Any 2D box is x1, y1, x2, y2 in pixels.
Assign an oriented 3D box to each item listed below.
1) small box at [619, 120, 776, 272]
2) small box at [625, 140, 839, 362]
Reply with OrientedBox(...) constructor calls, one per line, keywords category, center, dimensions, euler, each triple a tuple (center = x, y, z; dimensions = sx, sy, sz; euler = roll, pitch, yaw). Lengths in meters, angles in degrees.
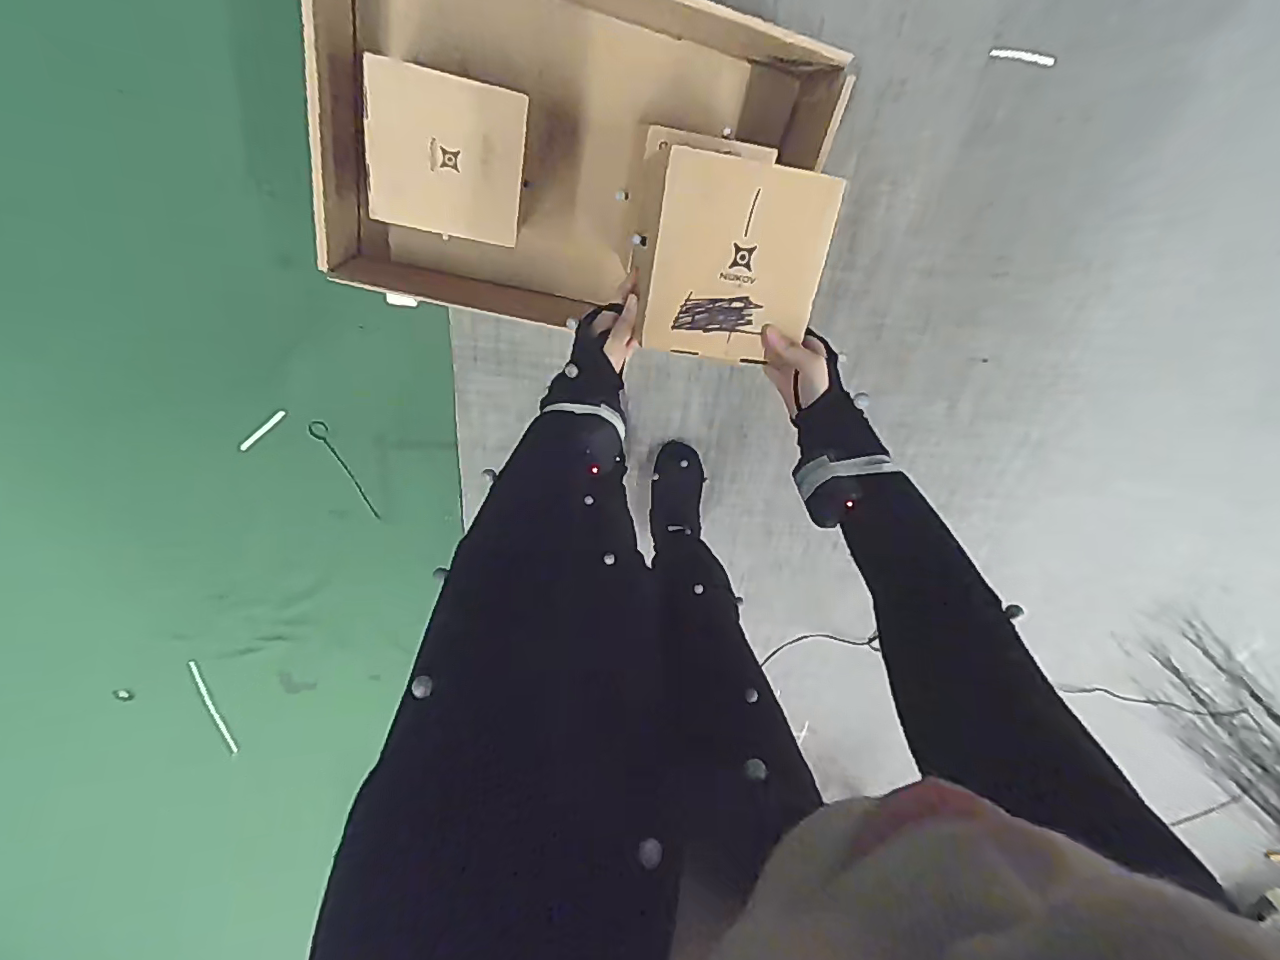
OrientedBox(category="small box", center=(0.065, -0.385, 0.755), dimensions=(0.168, 0.176, 0.179), euler=(4, 123, -11))
OrientedBox(category="small box", center=(0.078, -0.240, 0.577), dimensions=(0.168, 0.176, 0.179), euler=(4, 116, -10))
